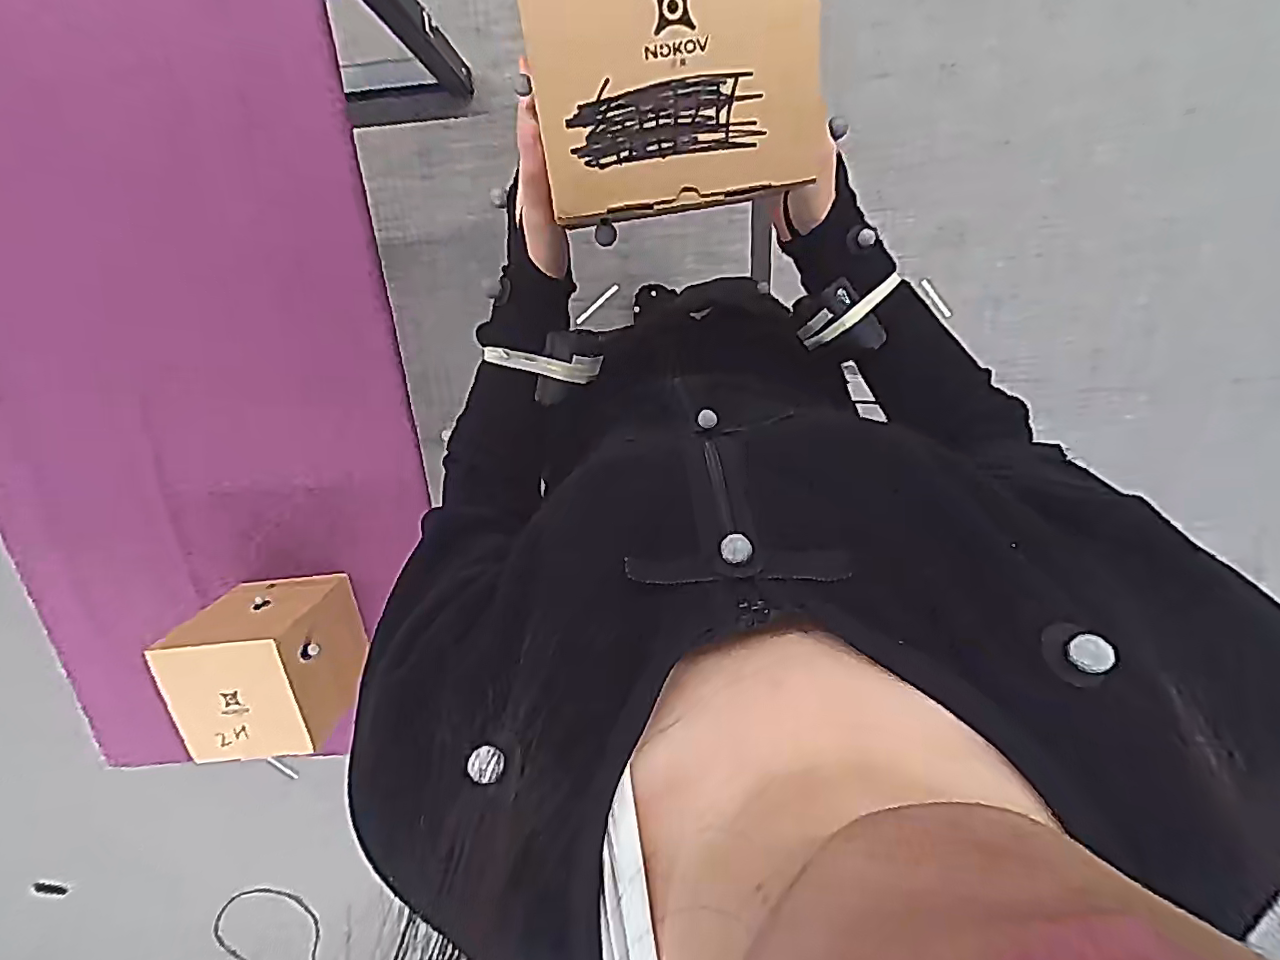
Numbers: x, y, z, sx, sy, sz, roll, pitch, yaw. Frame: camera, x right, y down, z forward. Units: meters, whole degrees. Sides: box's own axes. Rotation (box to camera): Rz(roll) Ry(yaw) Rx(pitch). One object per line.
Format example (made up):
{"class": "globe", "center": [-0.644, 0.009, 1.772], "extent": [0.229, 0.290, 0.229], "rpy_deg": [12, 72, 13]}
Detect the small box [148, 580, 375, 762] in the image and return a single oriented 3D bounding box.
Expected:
{"class": "small box", "center": [-0.499, 0.249, 0.743], "extent": [0.168, 0.176, 0.179], "rpy_deg": [-6, 108, 4]}
